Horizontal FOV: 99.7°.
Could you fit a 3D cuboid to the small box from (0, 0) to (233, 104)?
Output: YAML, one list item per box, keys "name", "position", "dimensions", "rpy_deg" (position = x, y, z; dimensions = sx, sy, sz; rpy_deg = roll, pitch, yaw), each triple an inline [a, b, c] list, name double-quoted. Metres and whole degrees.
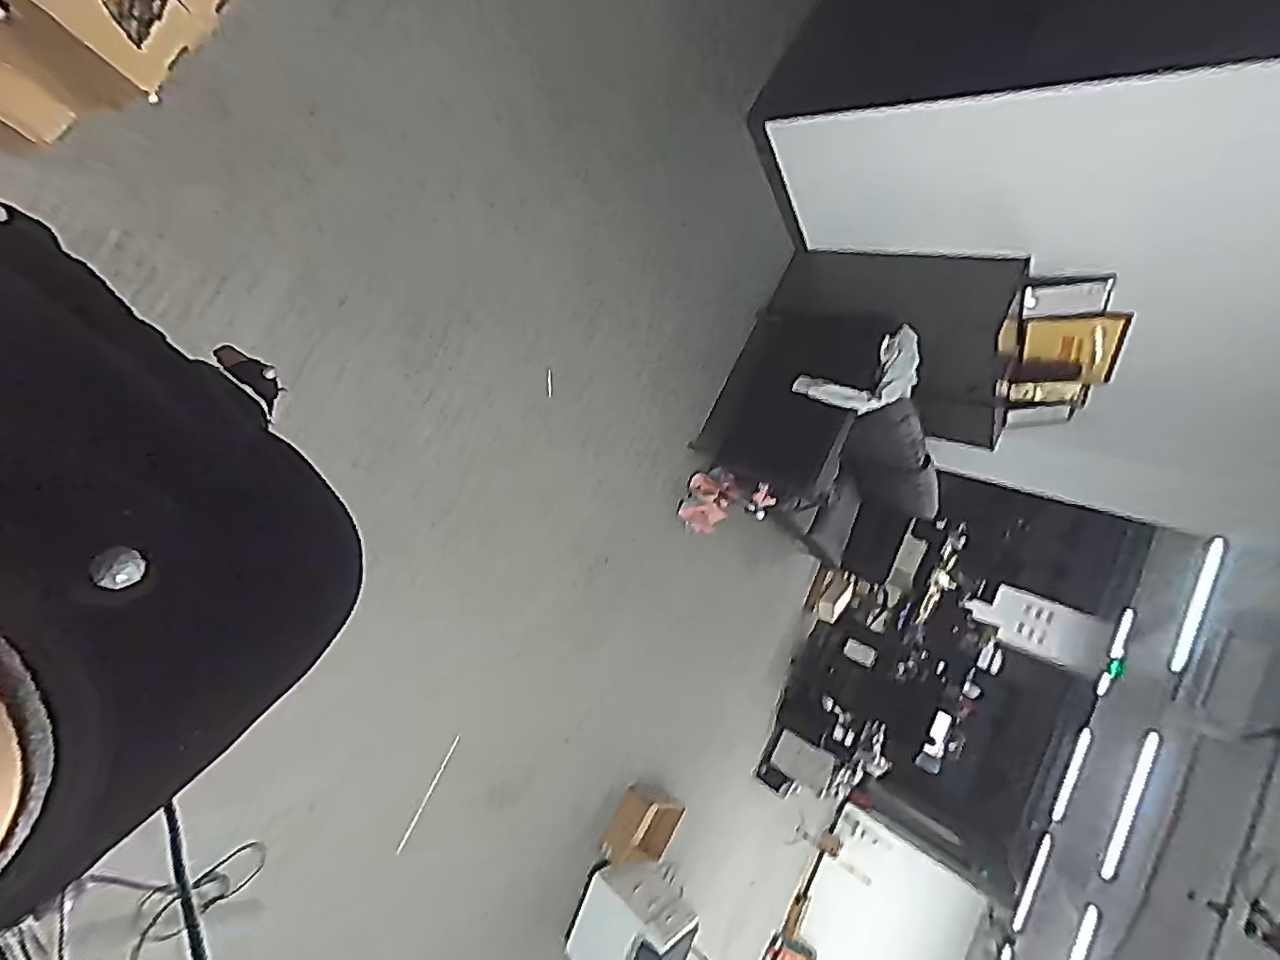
- name: "small box"
  position: [-0.513, -0.478, 0.489]
  dimensions: [0.179, 0.176, 0.168]
  rpy_deg: [39, 76, -51]
